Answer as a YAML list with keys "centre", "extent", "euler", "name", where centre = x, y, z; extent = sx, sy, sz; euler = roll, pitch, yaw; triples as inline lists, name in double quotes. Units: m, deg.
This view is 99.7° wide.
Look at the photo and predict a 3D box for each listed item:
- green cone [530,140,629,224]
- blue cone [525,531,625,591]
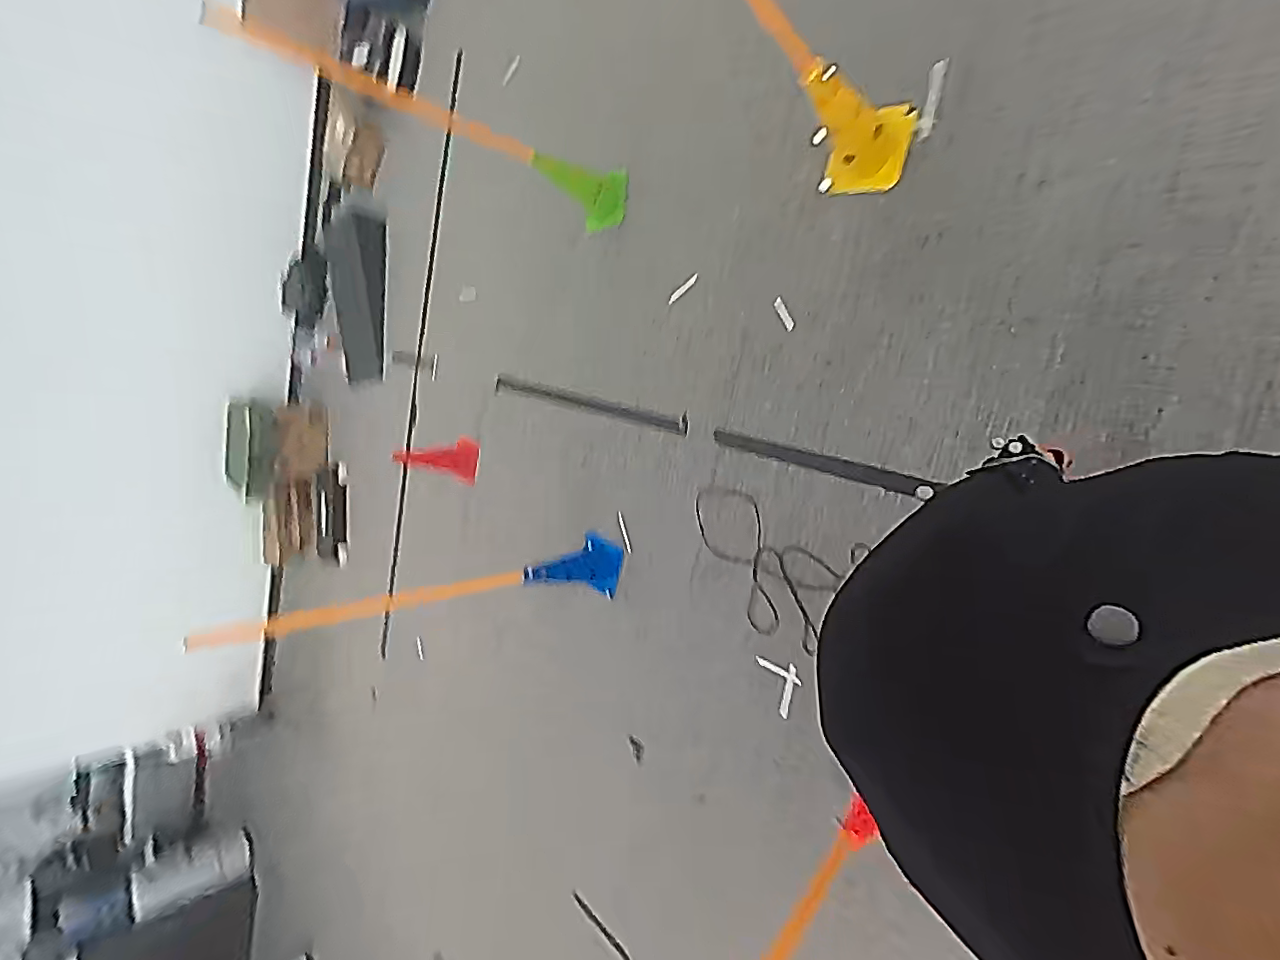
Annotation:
- centre: [-0.232, -1.070, 1.883]
  extent: [0.202, 0.368, 0.200]
  euler: [6, 93, 40]
  name: "green cone"
- centre: [-0.245, 0.295, 1.879]
  extent: [0.192, 0.380, 0.193]
  euler: [23, 104, 39]
  name: "blue cone"
